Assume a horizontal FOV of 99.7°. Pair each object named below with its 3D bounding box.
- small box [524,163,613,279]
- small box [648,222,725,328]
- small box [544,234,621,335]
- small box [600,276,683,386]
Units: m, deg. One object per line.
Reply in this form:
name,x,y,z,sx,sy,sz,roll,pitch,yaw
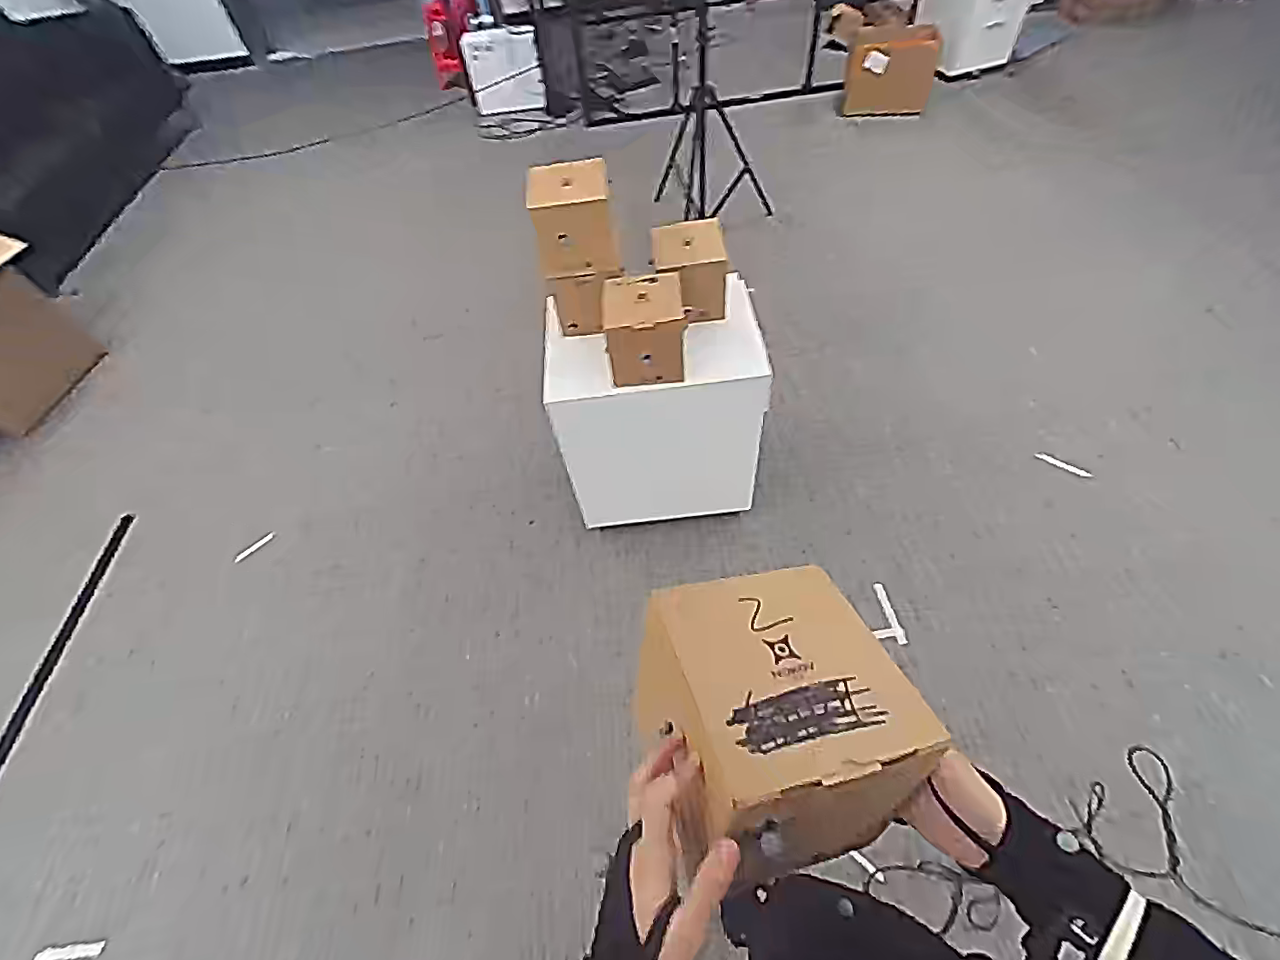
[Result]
small box,-0.153,-0.561,1.189,0.168,0.176,0.179,-8,54,0
small box,0.112,-0.493,1.314,0.168,0.176,0.179,-8,55,3
small box,-0.131,-0.470,1.321,0.168,0.176,0.179,-6,54,2
small box,0.006,-0.323,1.200,0.168,0.176,0.179,-5,54,3
